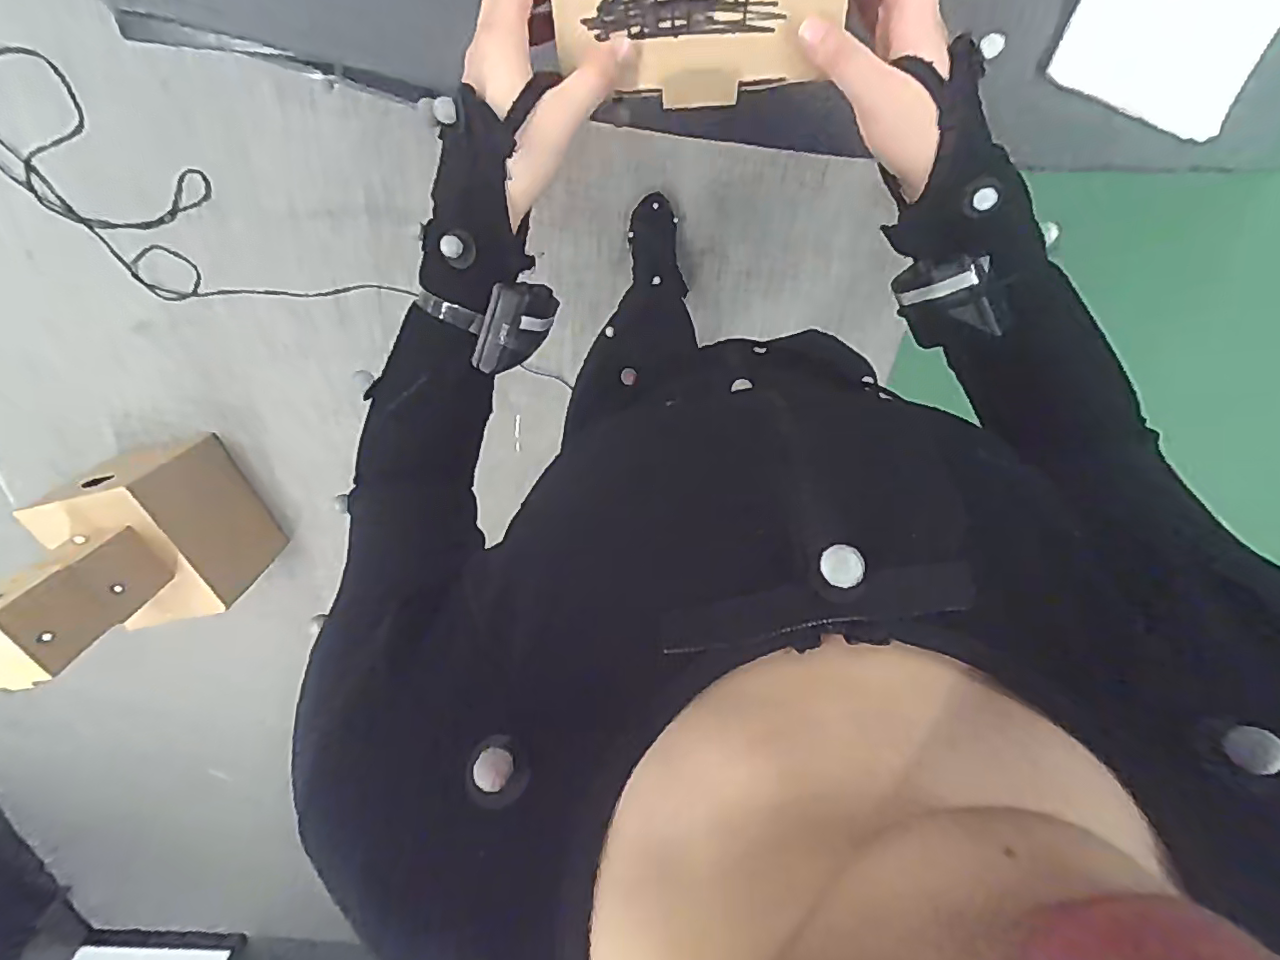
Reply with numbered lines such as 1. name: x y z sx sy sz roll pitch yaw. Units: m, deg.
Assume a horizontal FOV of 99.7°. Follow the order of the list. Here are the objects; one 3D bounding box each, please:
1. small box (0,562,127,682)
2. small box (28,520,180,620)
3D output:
1. small box: -1.275 0.292 1.147 0.168 0.176 0.179 -11 119 5
2. small box: -1.275 0.223 1.295 0.168 0.176 0.179 -12 119 5
